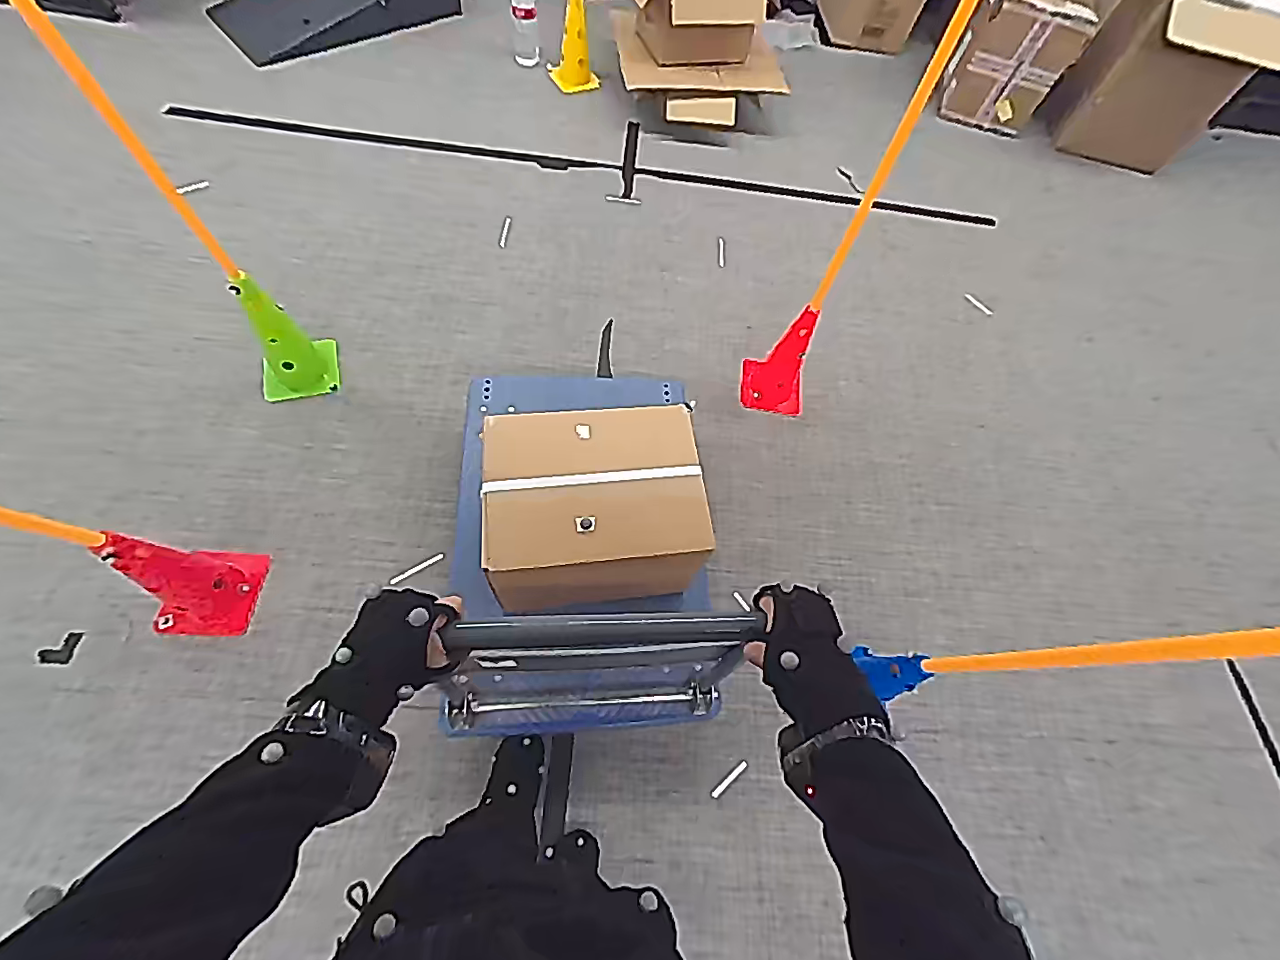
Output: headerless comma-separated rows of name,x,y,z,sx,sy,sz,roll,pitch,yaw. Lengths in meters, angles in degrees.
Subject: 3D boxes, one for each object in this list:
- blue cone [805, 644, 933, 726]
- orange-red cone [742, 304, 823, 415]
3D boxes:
blue cone,0.537,0.435,1.213,0.193,0.380,0.192,2,62,-7
orange-red cone,0.455,-0.383,1.605,0.199,0.360,0.198,12,63,-2
